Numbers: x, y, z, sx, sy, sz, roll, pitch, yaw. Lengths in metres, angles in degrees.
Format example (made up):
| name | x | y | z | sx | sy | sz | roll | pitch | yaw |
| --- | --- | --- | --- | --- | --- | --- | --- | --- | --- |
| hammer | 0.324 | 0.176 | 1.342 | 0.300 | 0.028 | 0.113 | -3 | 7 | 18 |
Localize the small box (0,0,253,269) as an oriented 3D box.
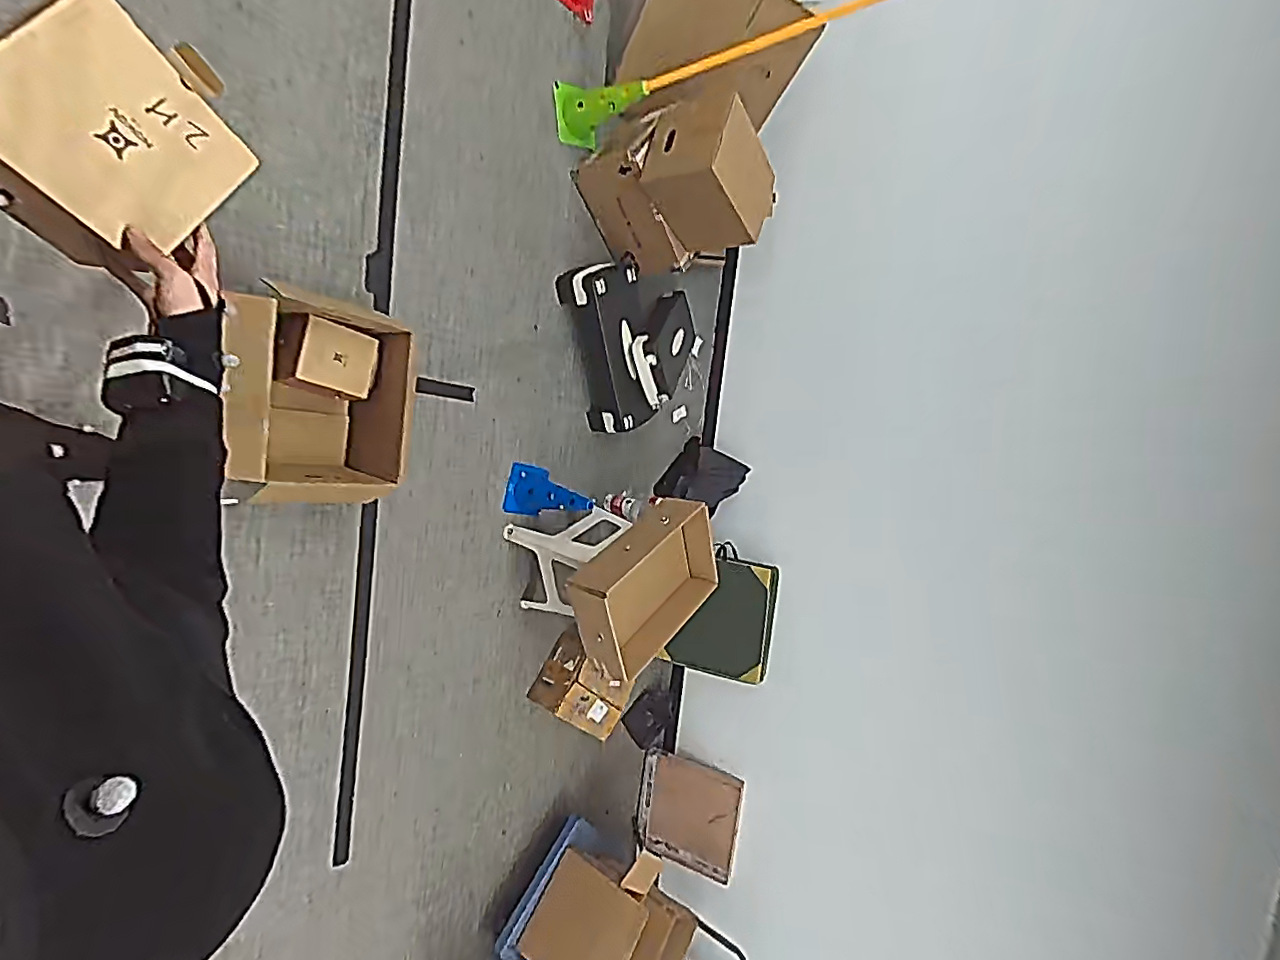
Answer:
| name | x | y | z | sx | sy | sz | roll | pitch | yaw |
| --- | --- | --- | --- | --- | --- | --- | --- | --- | --- |
| small box | -0.543 | -0.331 | 0.522 | 0.179 | 0.176 | 0.168 | -65 | 153 | -22 |
